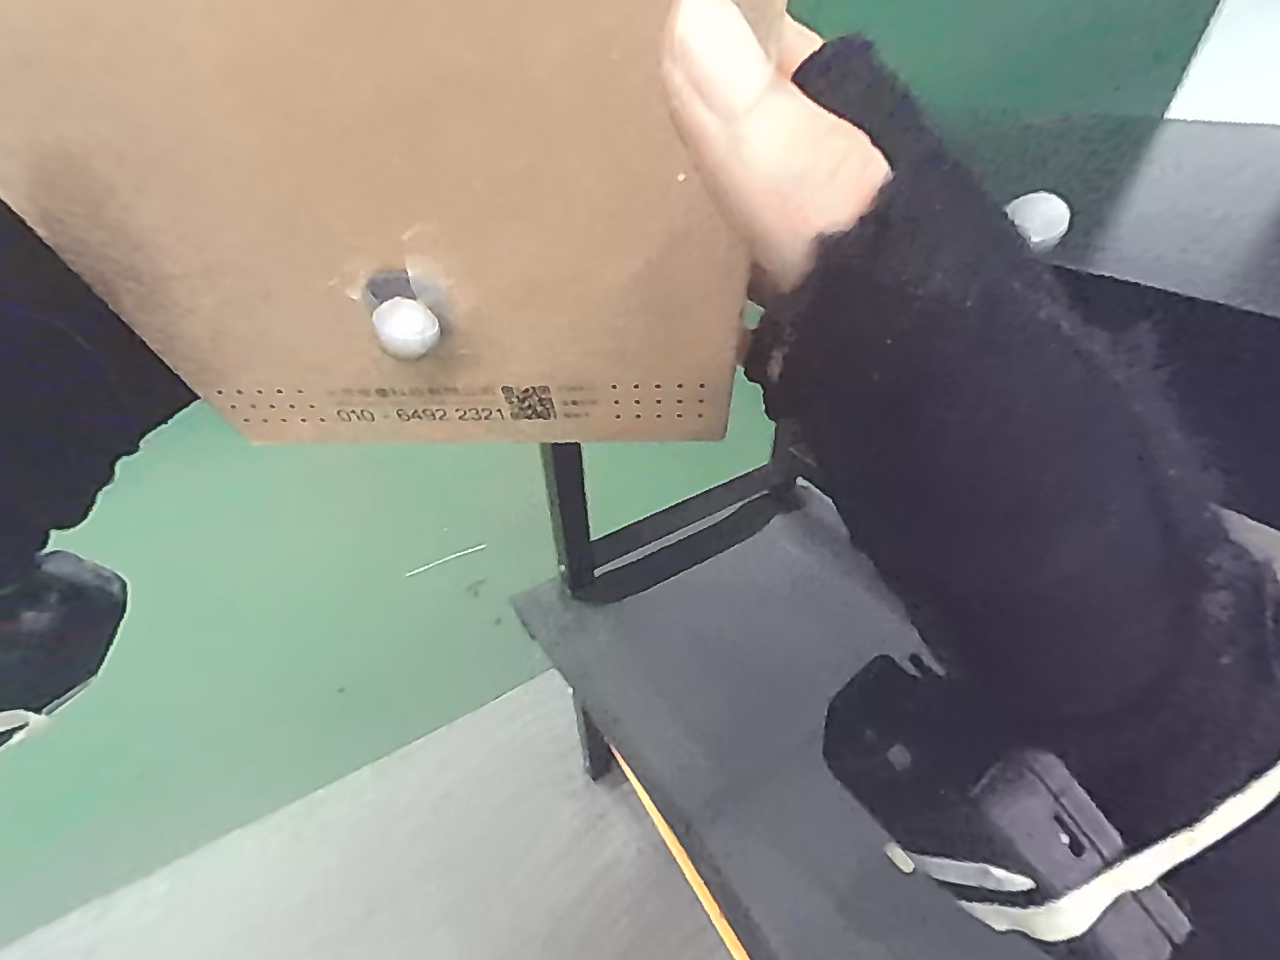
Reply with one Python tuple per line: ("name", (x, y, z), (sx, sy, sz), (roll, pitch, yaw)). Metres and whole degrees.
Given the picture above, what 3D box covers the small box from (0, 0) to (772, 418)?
("small box", (-0.054, -0.140, 0.173), (0.168, 0.176, 0.179), (-1, 54, 3))
